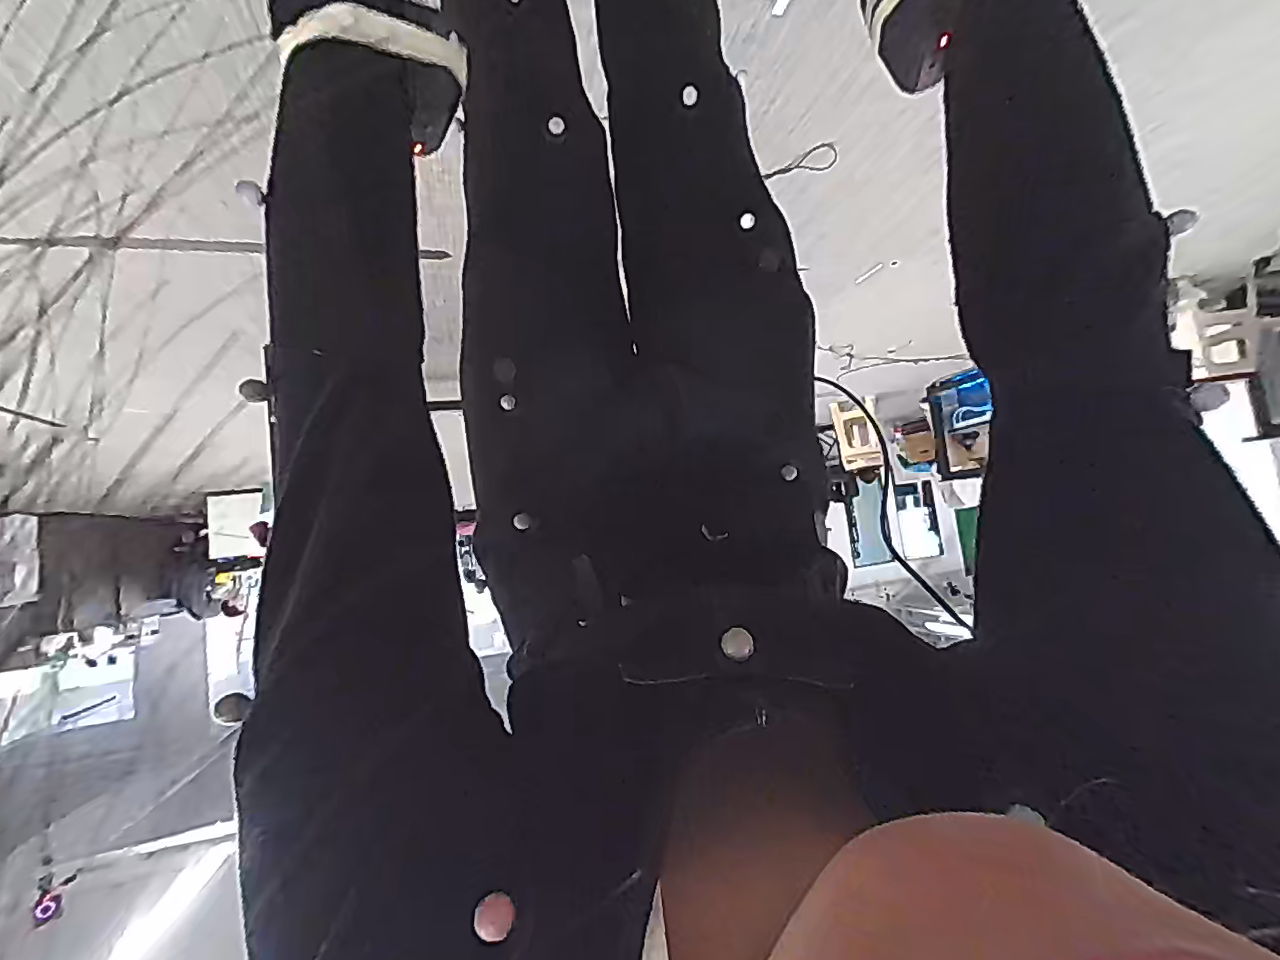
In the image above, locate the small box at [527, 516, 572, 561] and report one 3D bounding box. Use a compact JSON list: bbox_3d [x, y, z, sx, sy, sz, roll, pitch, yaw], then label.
[{"bbox_3d":[-0.387,0.246,2.289,0.168,0.176,0.179,-6,175,-15],"label":"small box"}]
